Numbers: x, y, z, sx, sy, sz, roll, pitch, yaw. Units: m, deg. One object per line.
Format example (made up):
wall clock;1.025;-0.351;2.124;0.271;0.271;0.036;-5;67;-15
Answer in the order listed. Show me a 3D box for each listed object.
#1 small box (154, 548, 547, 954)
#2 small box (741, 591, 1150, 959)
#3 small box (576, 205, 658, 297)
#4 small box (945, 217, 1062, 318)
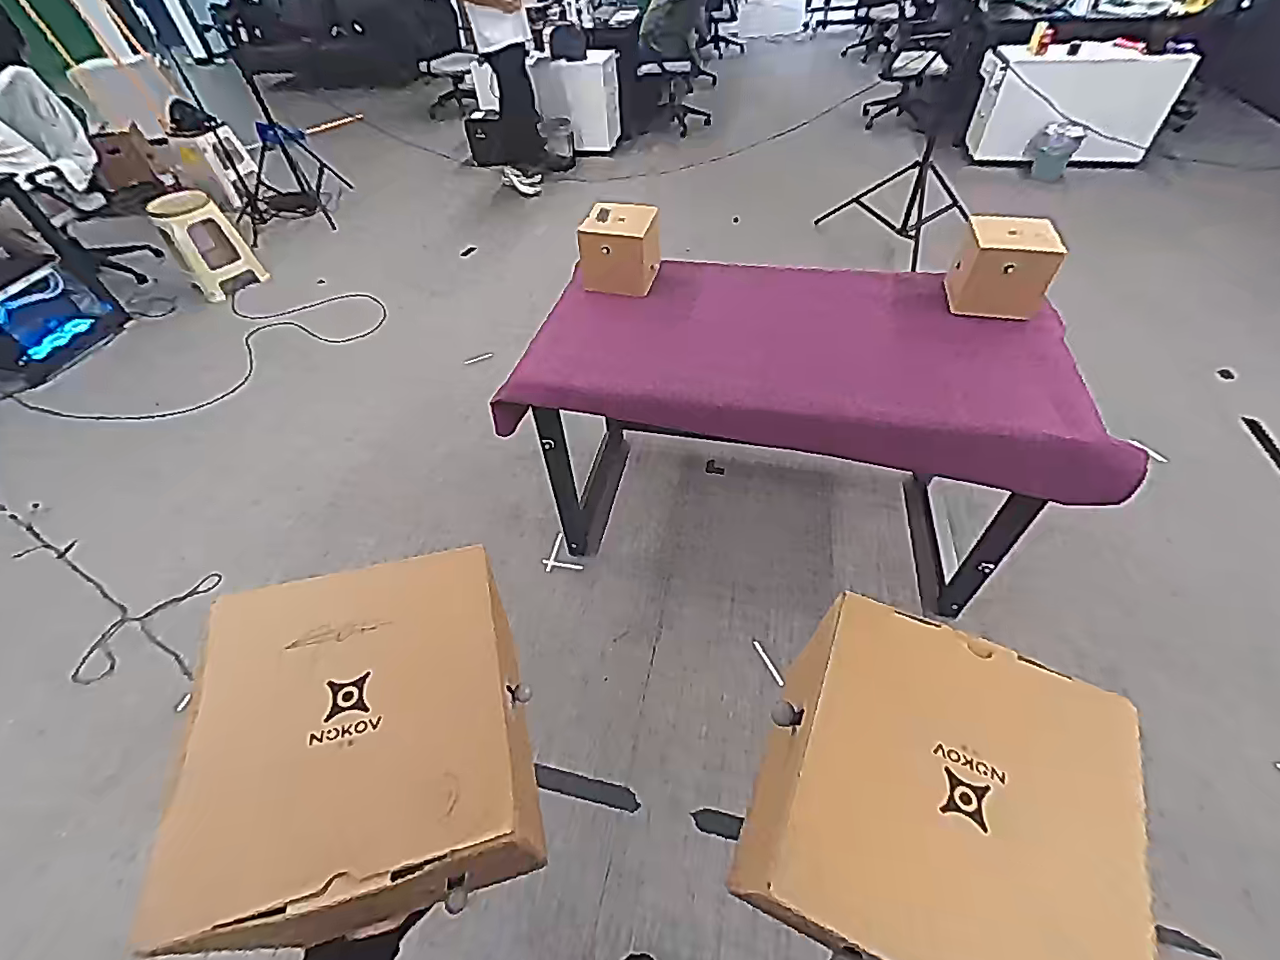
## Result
small box;-0.161;0.176;0.363;0.168;0.176;0.179;-11;51;-13
small box;0.171;0.209;0.348;0.168;0.176;0.179;20;55;15
small box;-0.054;-0.611;1.447;0.179;0.176;0.168;11;52;11
small box;0.850;-0.505;1.290;0.179;0.176;0.168;9;50;11
